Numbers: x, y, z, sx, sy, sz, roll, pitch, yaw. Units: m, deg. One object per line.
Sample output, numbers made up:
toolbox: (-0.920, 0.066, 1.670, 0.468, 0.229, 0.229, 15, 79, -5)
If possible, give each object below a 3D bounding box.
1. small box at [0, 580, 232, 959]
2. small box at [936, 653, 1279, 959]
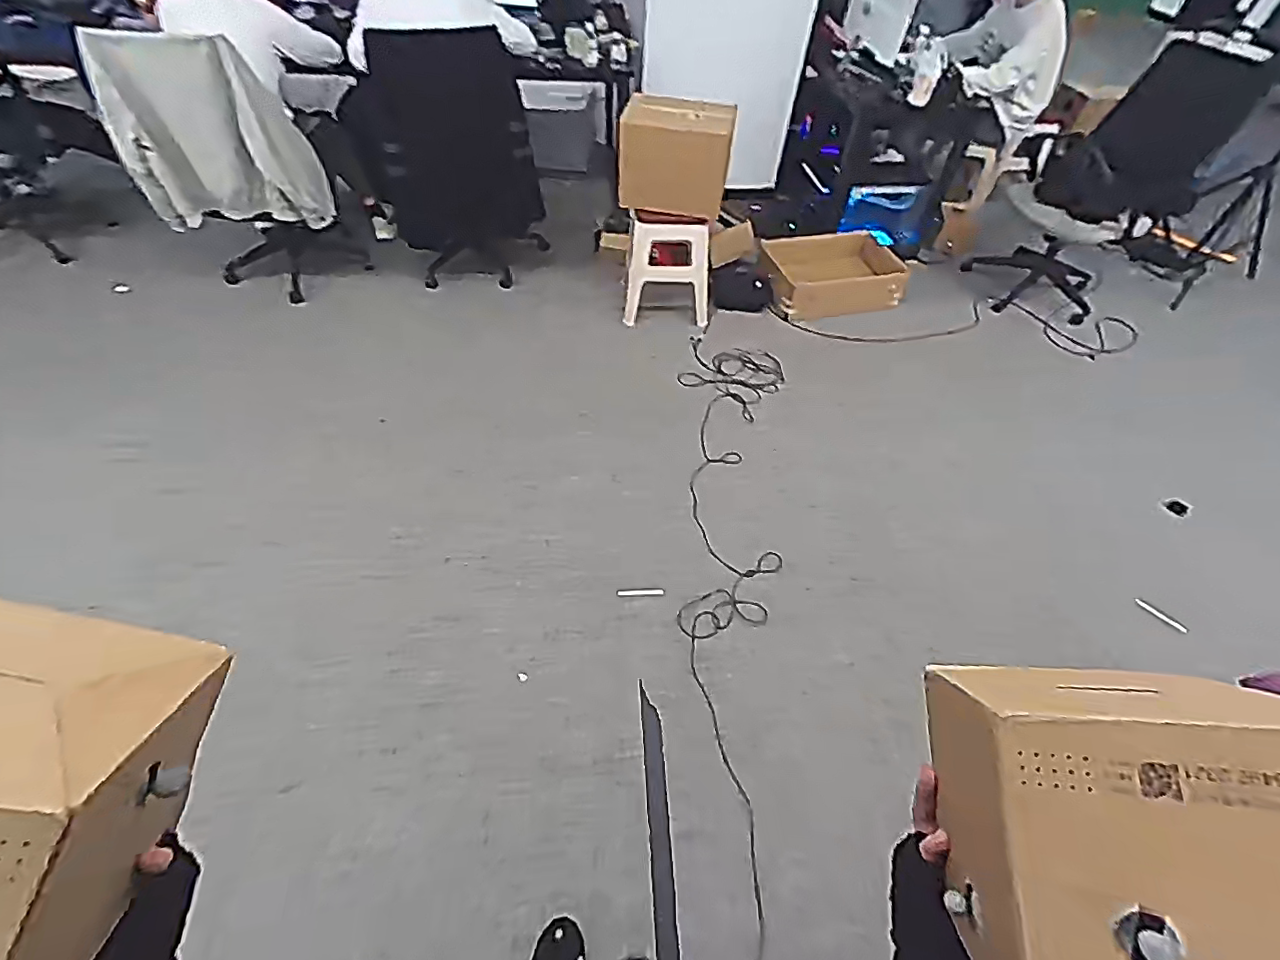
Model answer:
small box: (-0.331, 0.150, 0.242, 0.168, 0.179, 0.176, 22, 85, -19)
small box: (0.272, 0.190, 0.292, 0.168, 0.179, 0.176, -3, 79, 17)
